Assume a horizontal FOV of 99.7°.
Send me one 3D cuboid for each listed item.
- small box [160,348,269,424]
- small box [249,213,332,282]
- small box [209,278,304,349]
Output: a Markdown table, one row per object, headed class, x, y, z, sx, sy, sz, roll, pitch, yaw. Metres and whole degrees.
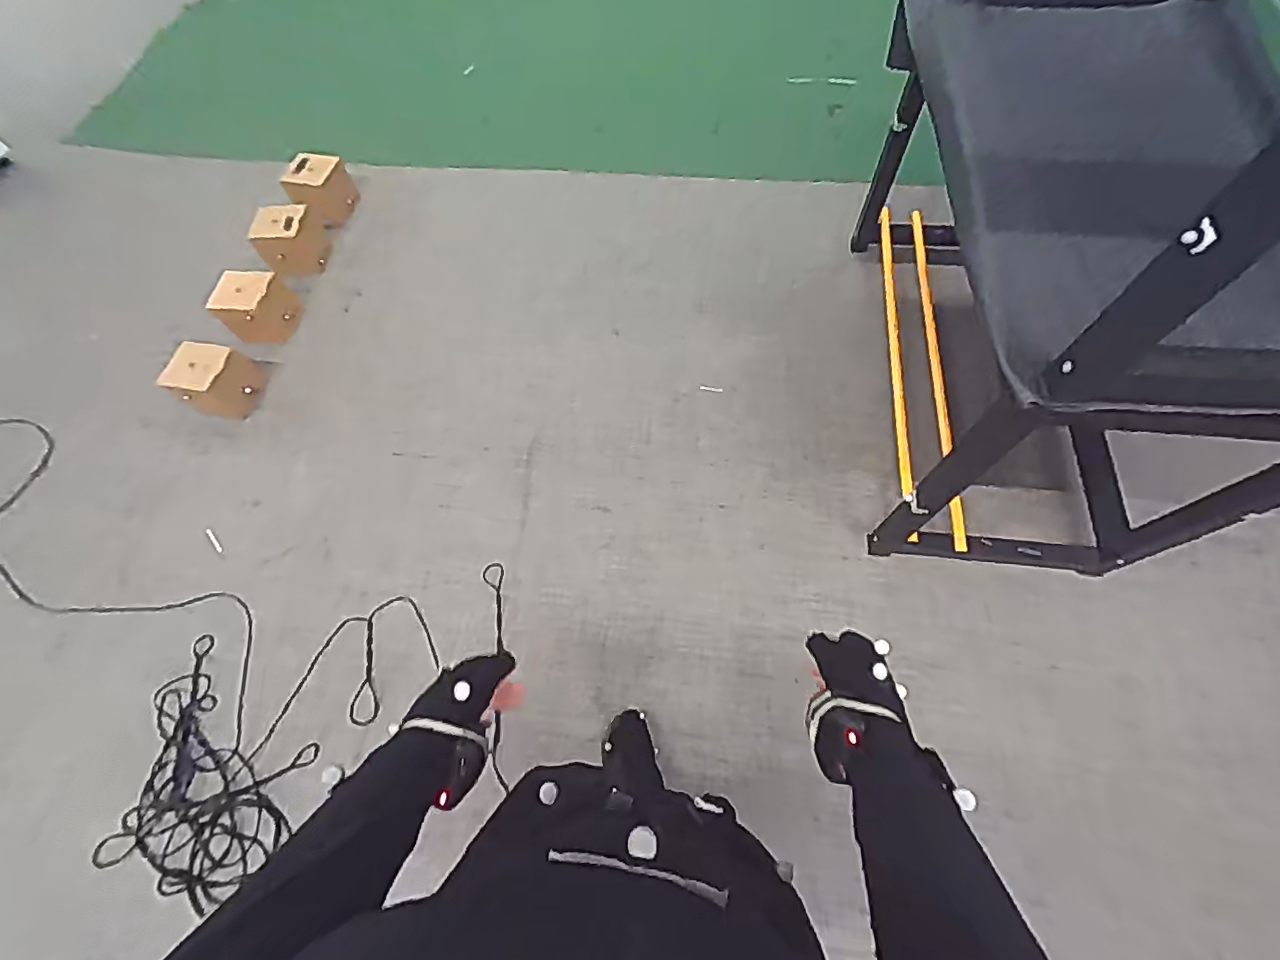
| class | x | y | z | sx | sy | sz | roll | pitch | yaw |
| --- | --- | --- | --- | --- | --- | --- | --- | --- | --- |
| small box | -1.345 | -0.295 | 1.720 | 0.179 | 0.176 | 0.168 | 9 | 66 | 7 |
| small box | -1.276 | -0.853 | 1.989 | 0.179 | 0.176 | 0.168 | -2 | 63 | 3 |
| small box | -1.305 | -0.567 | 1.852 | 0.179 | 0.176 | 0.168 | 2 | 65 | 4 |
